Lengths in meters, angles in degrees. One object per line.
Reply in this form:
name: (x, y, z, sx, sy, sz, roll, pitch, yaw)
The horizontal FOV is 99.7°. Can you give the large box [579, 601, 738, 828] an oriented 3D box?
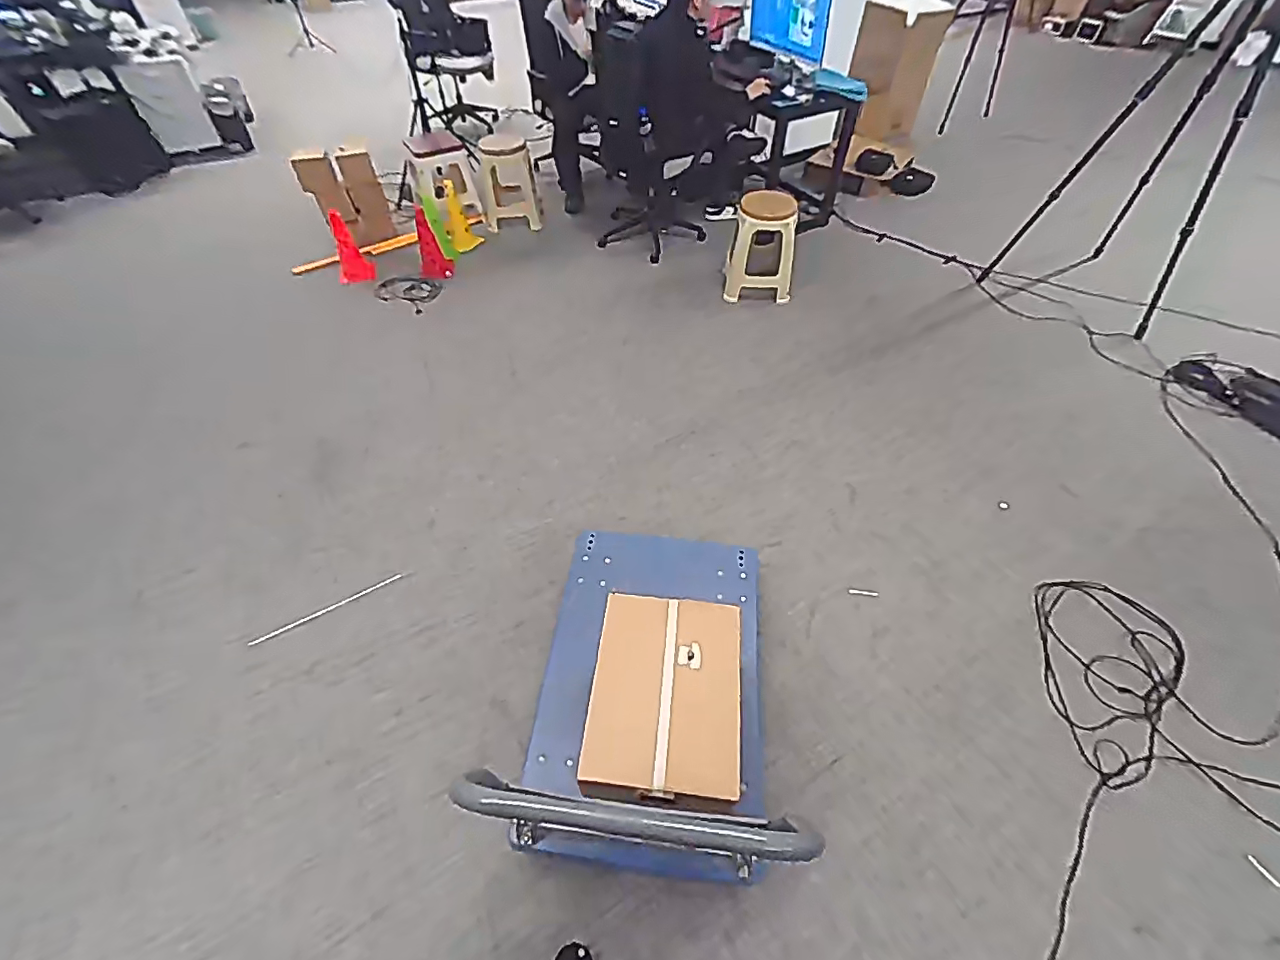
large box: (0.052, 0.551, 1.276, 0.320, 0.320, 0.408, 6, 49, 4)
